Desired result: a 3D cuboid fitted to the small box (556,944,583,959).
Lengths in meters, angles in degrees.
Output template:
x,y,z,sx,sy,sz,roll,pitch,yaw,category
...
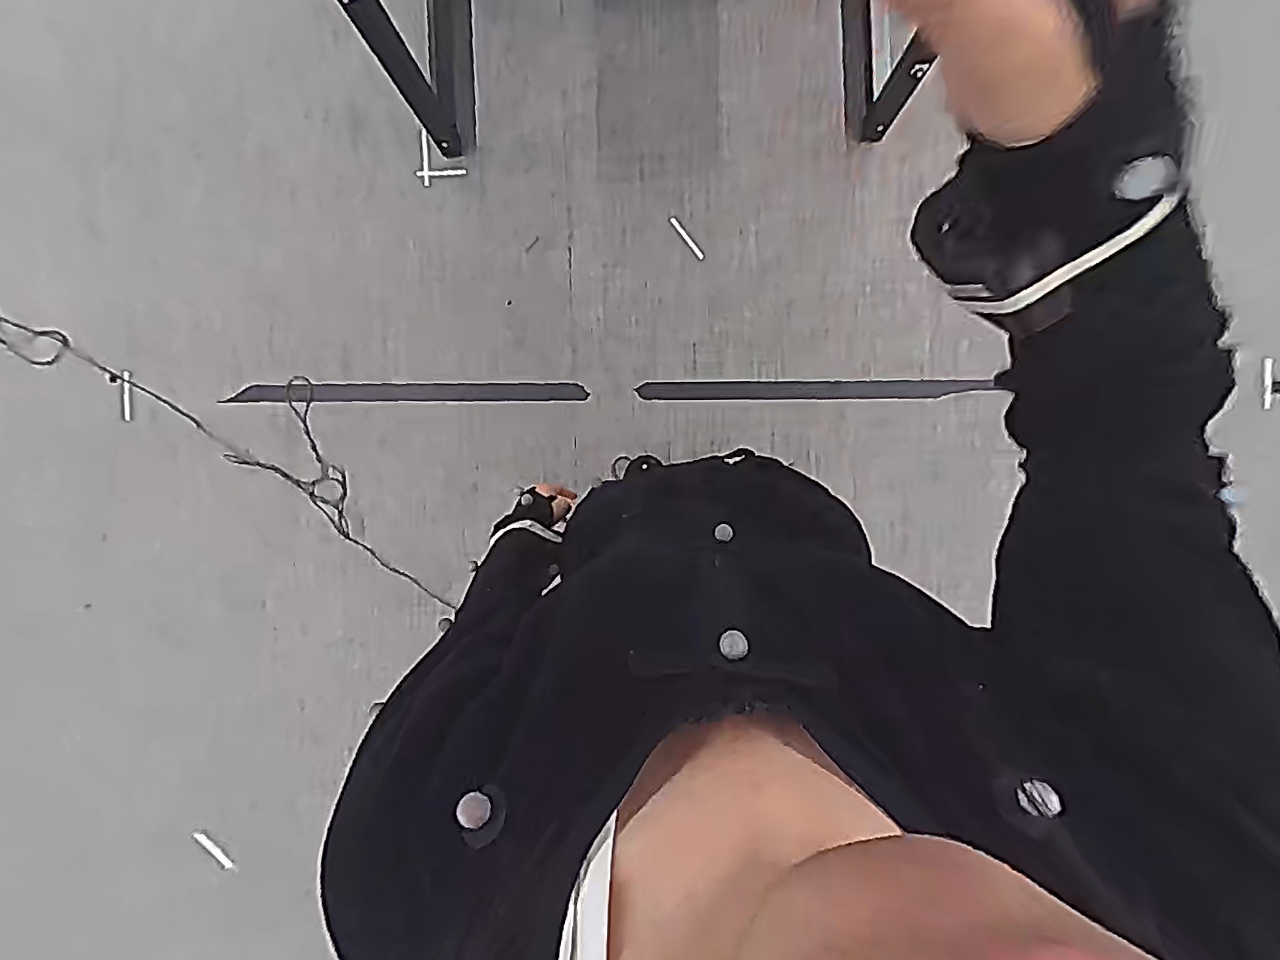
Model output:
x,y,z,sx,sy,sz,roll,pitch,yaw,category
-0.245,1.396,1.444,0.179,0.176,0.168,-8,93,1,small box
